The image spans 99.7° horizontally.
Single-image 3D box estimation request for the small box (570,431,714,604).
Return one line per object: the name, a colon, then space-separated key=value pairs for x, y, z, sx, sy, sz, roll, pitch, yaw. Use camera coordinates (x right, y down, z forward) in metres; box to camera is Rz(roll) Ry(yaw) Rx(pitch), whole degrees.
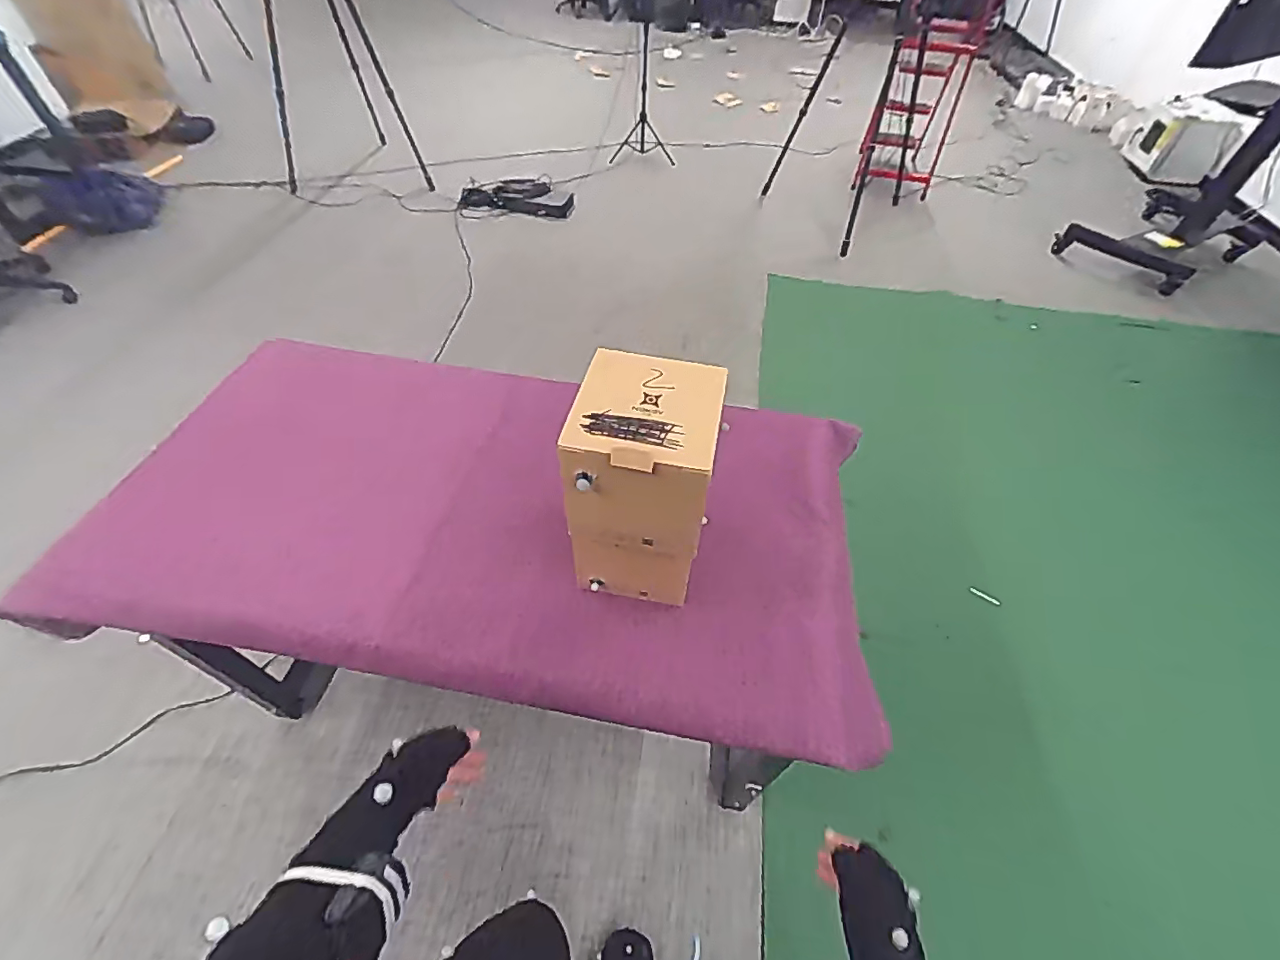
small box: x=0.005 y=0.059 z=0.800 sx=0.168 sy=0.176 sz=0.179 roll=13 pitch=51 yaw=6
